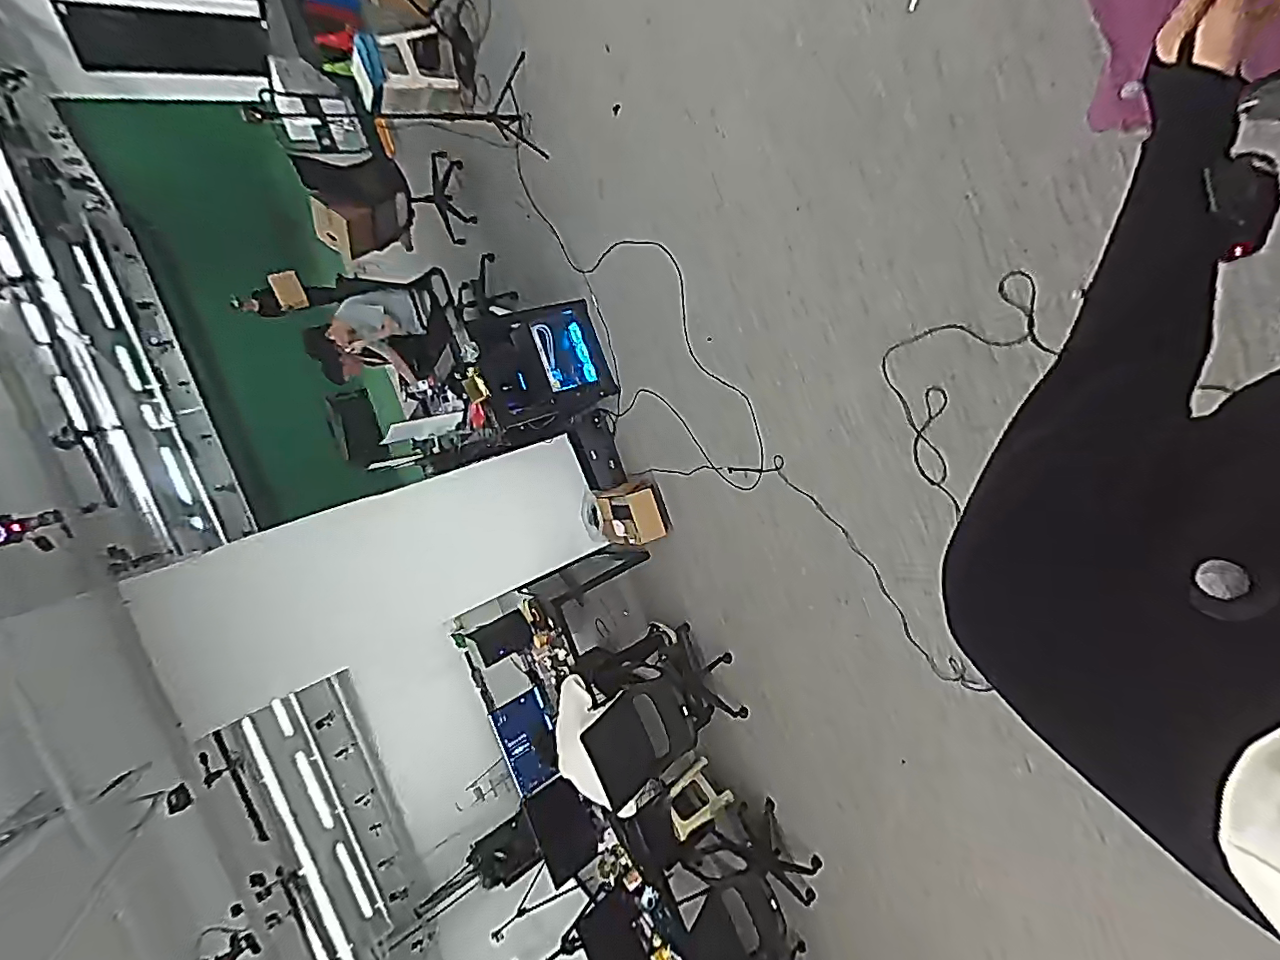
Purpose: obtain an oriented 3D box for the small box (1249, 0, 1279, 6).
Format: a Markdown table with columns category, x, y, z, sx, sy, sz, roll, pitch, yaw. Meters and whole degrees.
| category | x | y | z | sx | sy | sz | roll | pitch | yaw |
| --- | --- | --- | --- | --- | --- | --- | --- | --- | --- |
| small box | 0.576 | -0.524 | 0.423 | 0.179 | 0.176 | 0.168 | -13 | 99 | 60 |
